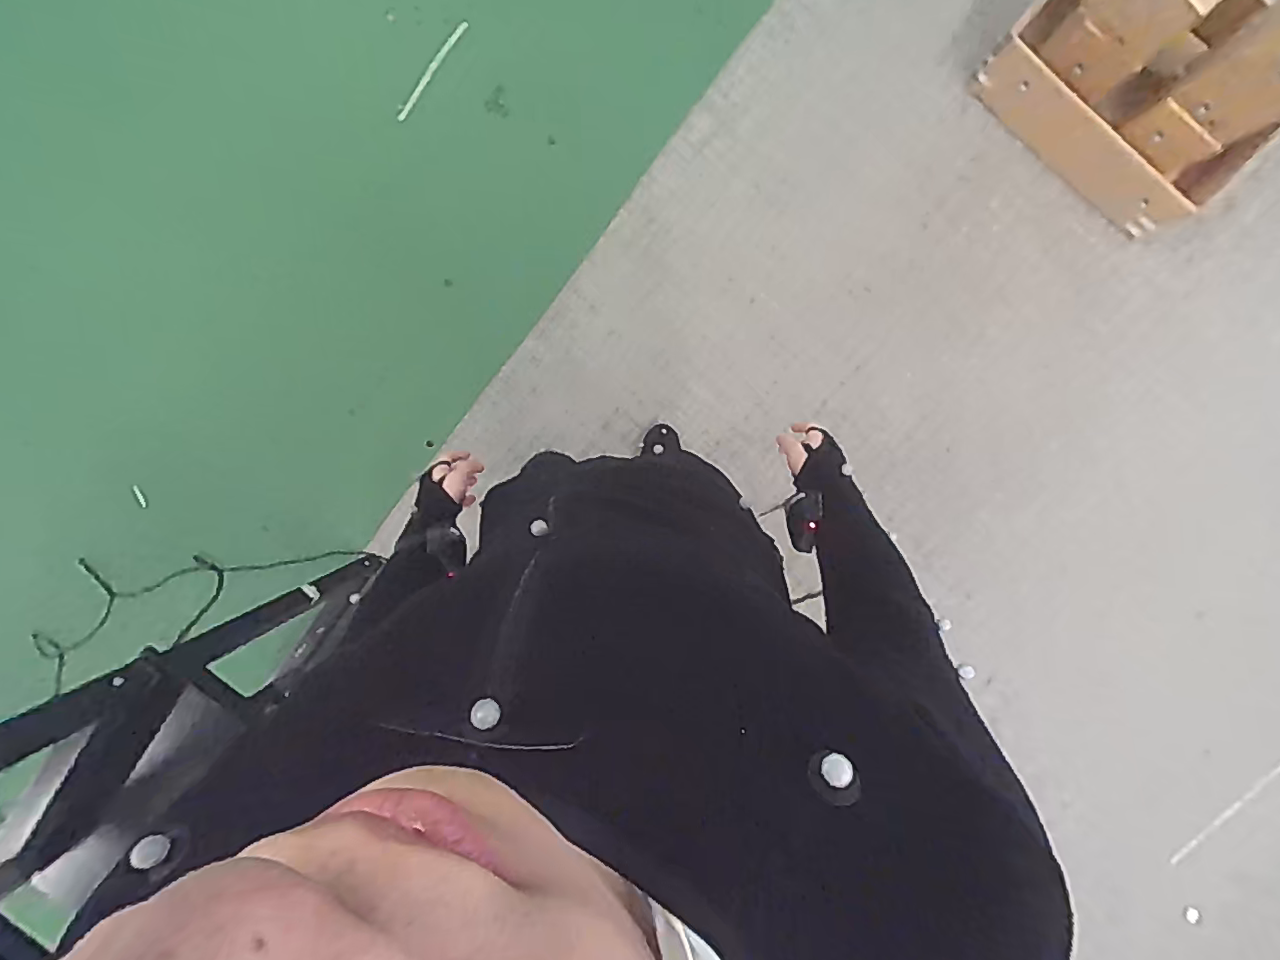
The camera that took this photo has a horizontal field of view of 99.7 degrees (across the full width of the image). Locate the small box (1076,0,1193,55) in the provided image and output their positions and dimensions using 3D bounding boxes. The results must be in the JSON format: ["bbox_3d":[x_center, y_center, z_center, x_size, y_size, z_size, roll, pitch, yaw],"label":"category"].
[{"bbox_3d":[1.066,-1.045,1.109,0.168,0.176,0.179,44,98,-3],"label":"small box"}]

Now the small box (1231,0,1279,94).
[{"bbox_3d":[1.248,-0.853,0.962,0.168,0.176,0.179,41,99,0],"label":"small box"}]

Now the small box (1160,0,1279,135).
[{"bbox_3d":[1.266,-0.877,1.123,0.168,0.176,0.179,42,99,-1],"label":"small box"}]

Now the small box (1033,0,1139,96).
[{"bbox_3d":[1.078,-1.065,1.272,0.168,0.176,0.179,39,99,-4],"label":"small box"}]

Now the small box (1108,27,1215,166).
[{"bbox_3d":[1.277,-0.895,1.286,0.168,0.176,0.179,40,99,-2],"label":"small box"}]
